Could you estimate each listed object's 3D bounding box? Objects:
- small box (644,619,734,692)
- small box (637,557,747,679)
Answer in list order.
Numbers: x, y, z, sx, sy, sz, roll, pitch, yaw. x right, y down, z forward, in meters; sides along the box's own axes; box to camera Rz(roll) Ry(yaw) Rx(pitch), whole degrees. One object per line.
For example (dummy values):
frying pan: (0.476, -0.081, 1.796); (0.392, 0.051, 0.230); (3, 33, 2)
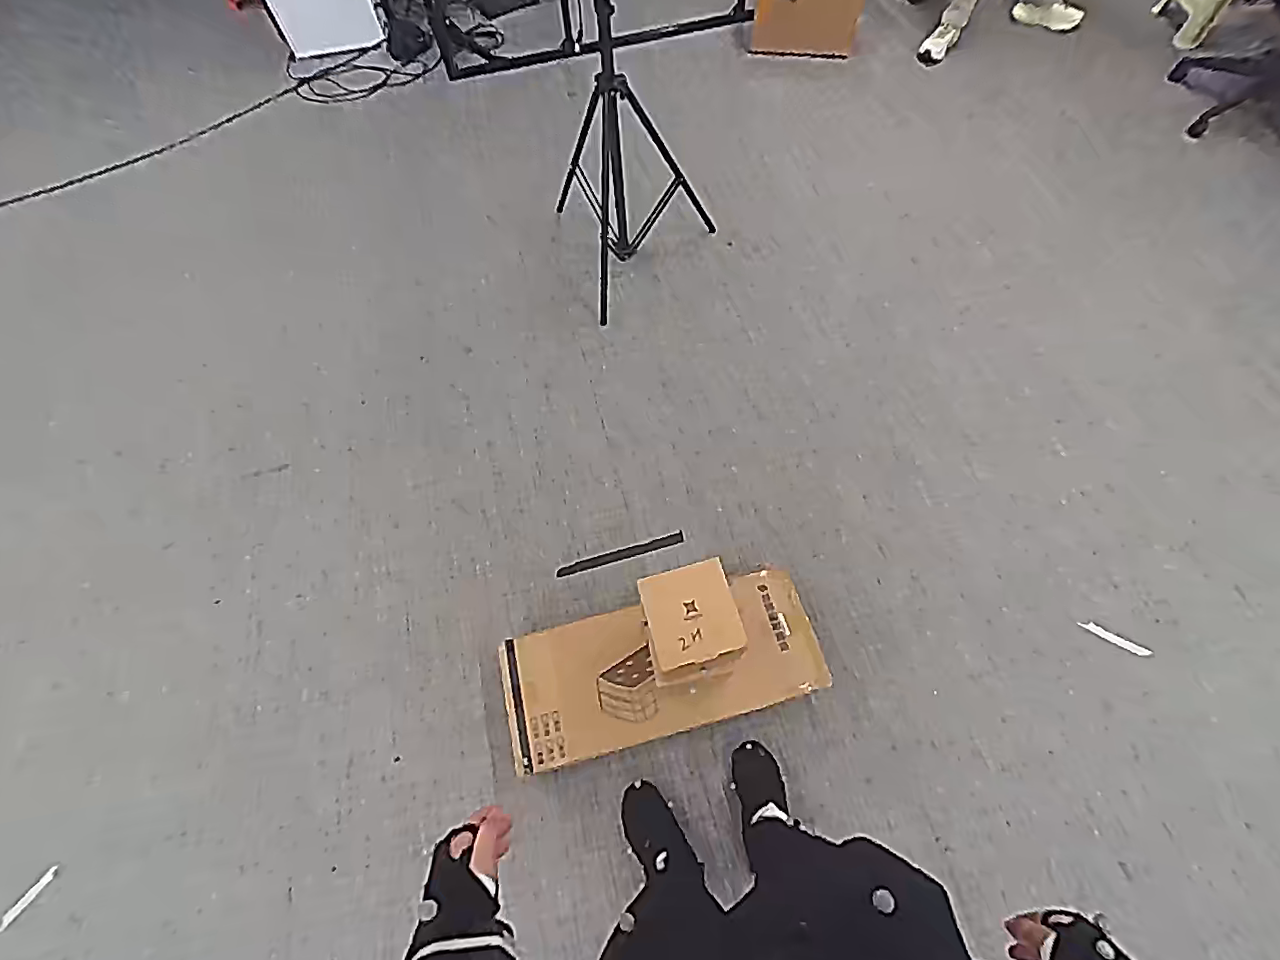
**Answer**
small box: (0.101, 0.363, 1.211); (0.168, 0.176, 0.179); (-11, 65, -2)
small box: (0.096, 0.277, 1.069); (0.168, 0.176, 0.179); (-15, 64, -4)
